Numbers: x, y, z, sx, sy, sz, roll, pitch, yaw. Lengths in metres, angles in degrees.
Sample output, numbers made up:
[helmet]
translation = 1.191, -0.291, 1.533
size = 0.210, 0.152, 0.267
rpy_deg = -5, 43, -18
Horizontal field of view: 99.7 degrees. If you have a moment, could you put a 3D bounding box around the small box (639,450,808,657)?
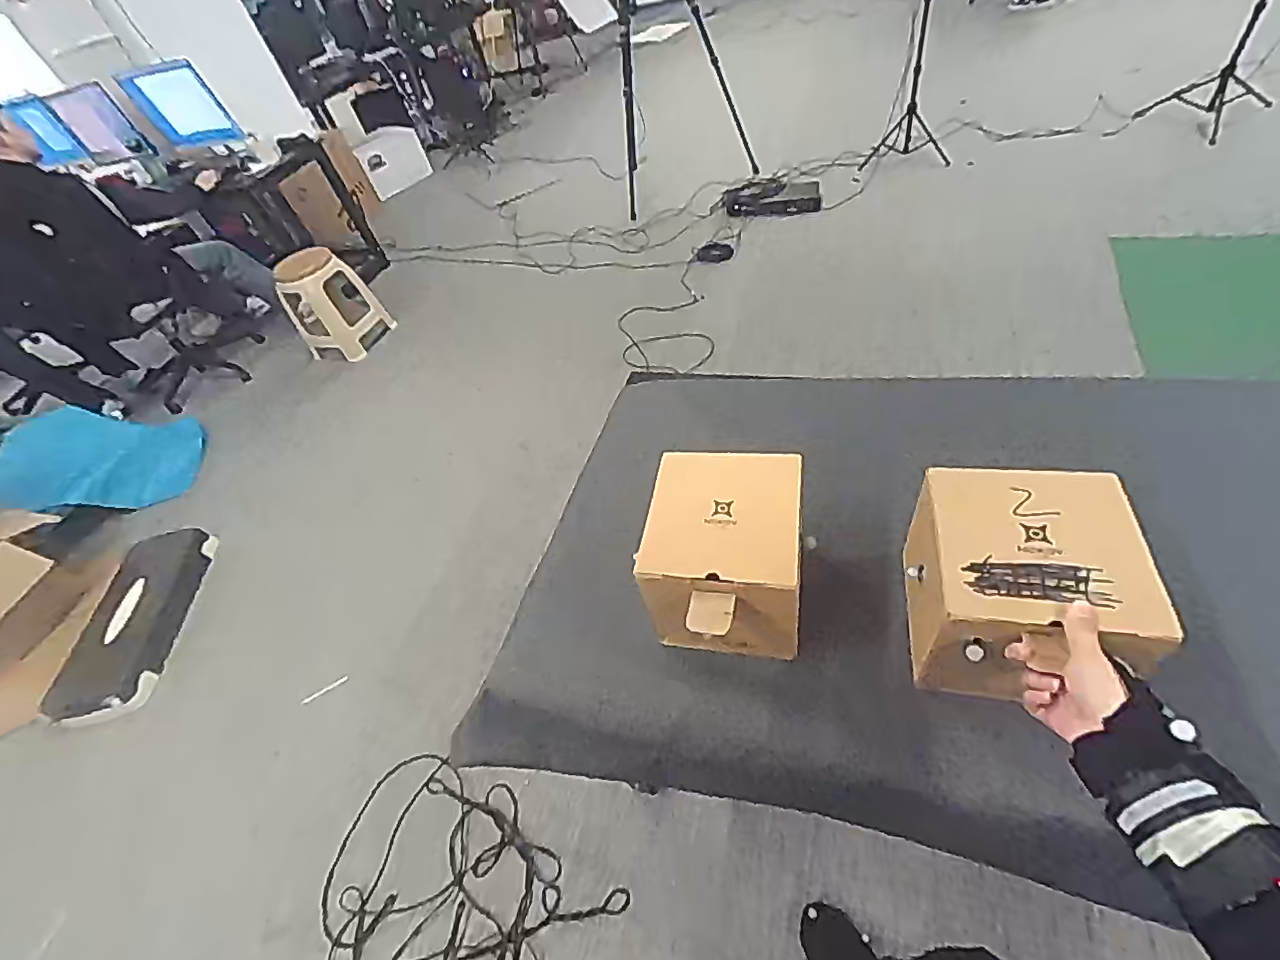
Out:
[small box]
translation = 0.108, 0.086, 0.646
size = 0.168, 0.176, 0.179
rpy_deg = 3, 50, 16
